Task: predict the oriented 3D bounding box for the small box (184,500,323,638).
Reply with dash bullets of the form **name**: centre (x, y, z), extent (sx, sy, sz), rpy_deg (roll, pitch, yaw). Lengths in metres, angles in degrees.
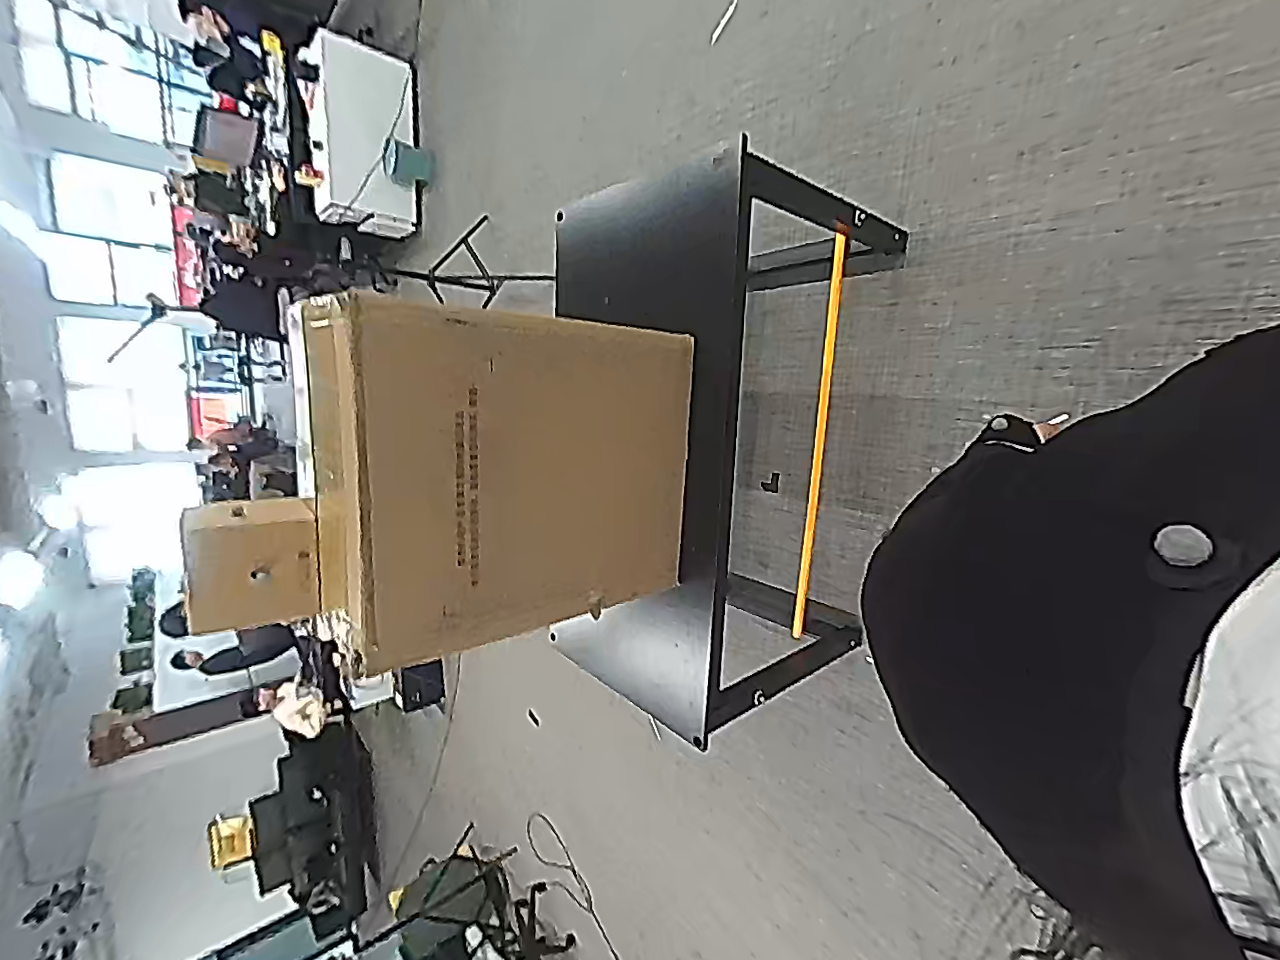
- **small box**: centre (-0.627, 0.132, 0.884), extent (0.179, 0.176, 0.168), rpy_deg (14, 104, 49)
